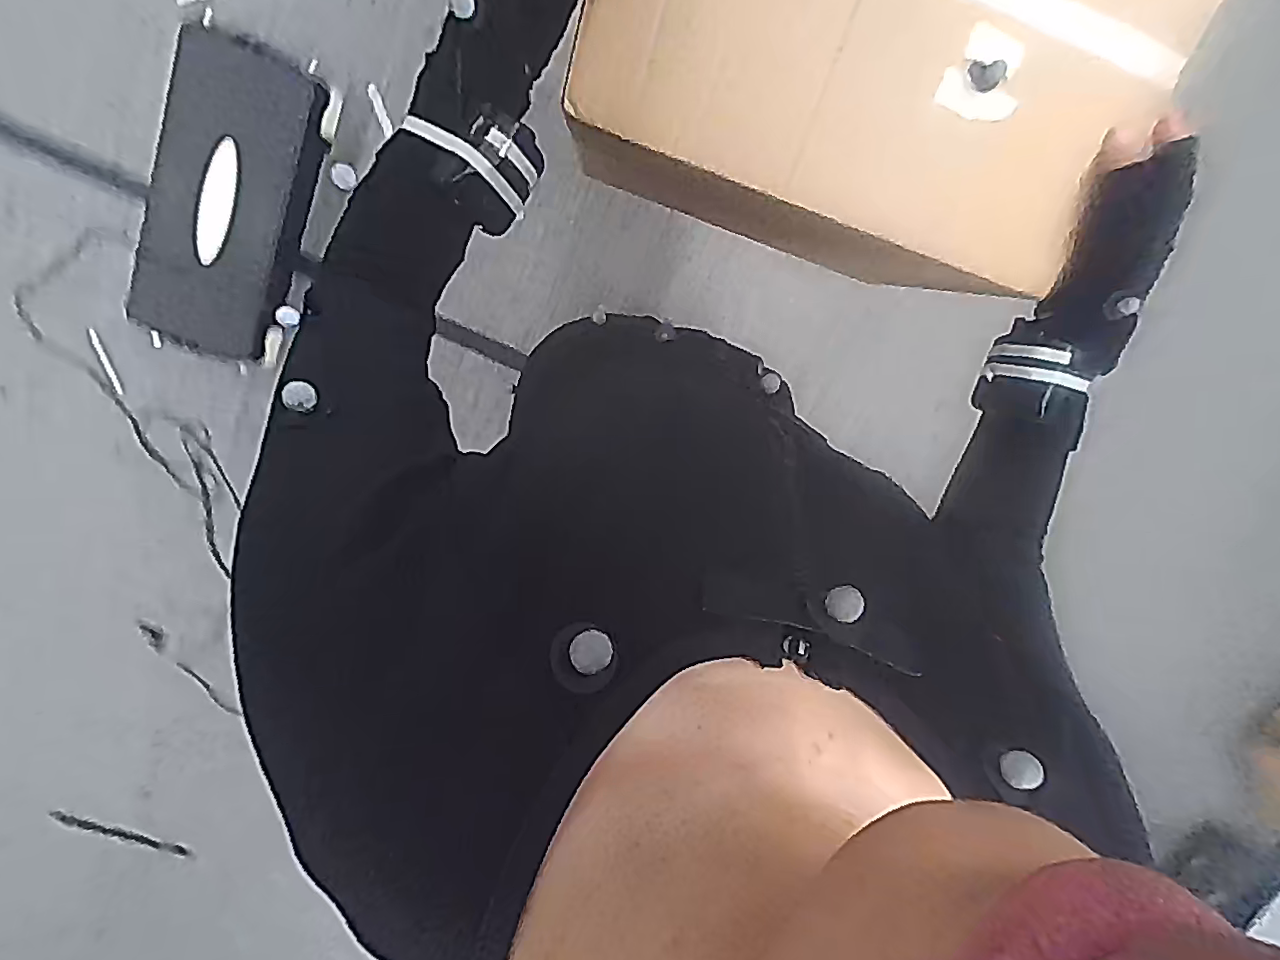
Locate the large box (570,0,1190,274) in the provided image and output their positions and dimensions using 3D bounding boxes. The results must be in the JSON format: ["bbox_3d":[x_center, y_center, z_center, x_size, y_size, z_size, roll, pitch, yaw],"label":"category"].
[{"bbox_3d":[0.166,-0.401,0.490,0.408,0.320,0.320,14,111,-10],"label":"large box"}]
